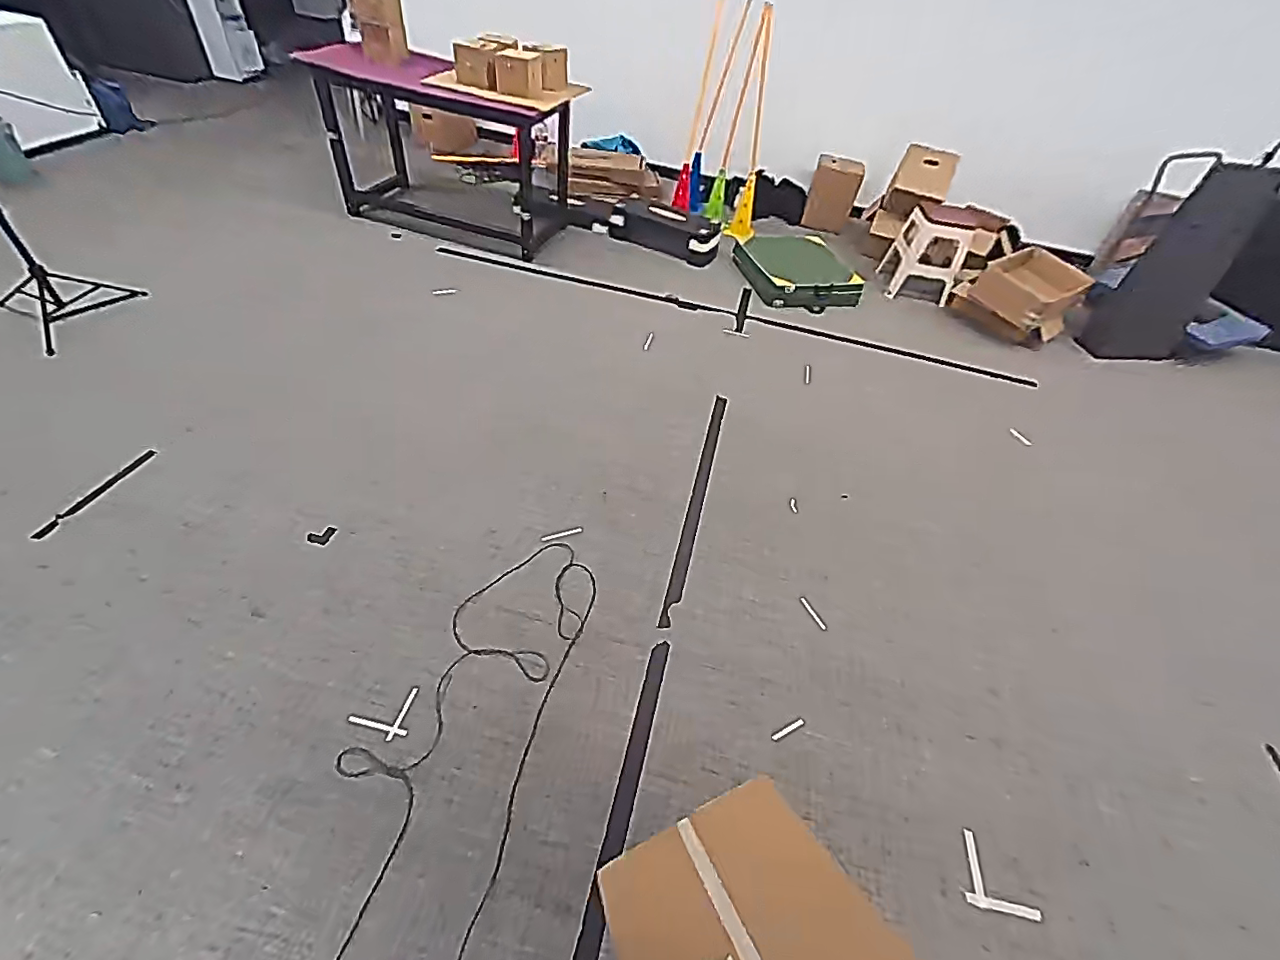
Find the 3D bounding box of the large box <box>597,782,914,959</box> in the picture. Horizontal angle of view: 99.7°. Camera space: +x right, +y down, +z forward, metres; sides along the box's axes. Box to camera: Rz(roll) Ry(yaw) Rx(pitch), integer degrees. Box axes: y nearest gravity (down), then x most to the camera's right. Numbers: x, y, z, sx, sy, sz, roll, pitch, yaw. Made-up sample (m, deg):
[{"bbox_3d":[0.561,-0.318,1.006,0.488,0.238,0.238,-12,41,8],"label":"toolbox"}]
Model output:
[{"bbox_3d":[0.173,0.714,0.718,0.320,0.408,0.320,-24,99,-13],"label":"large box"}]
